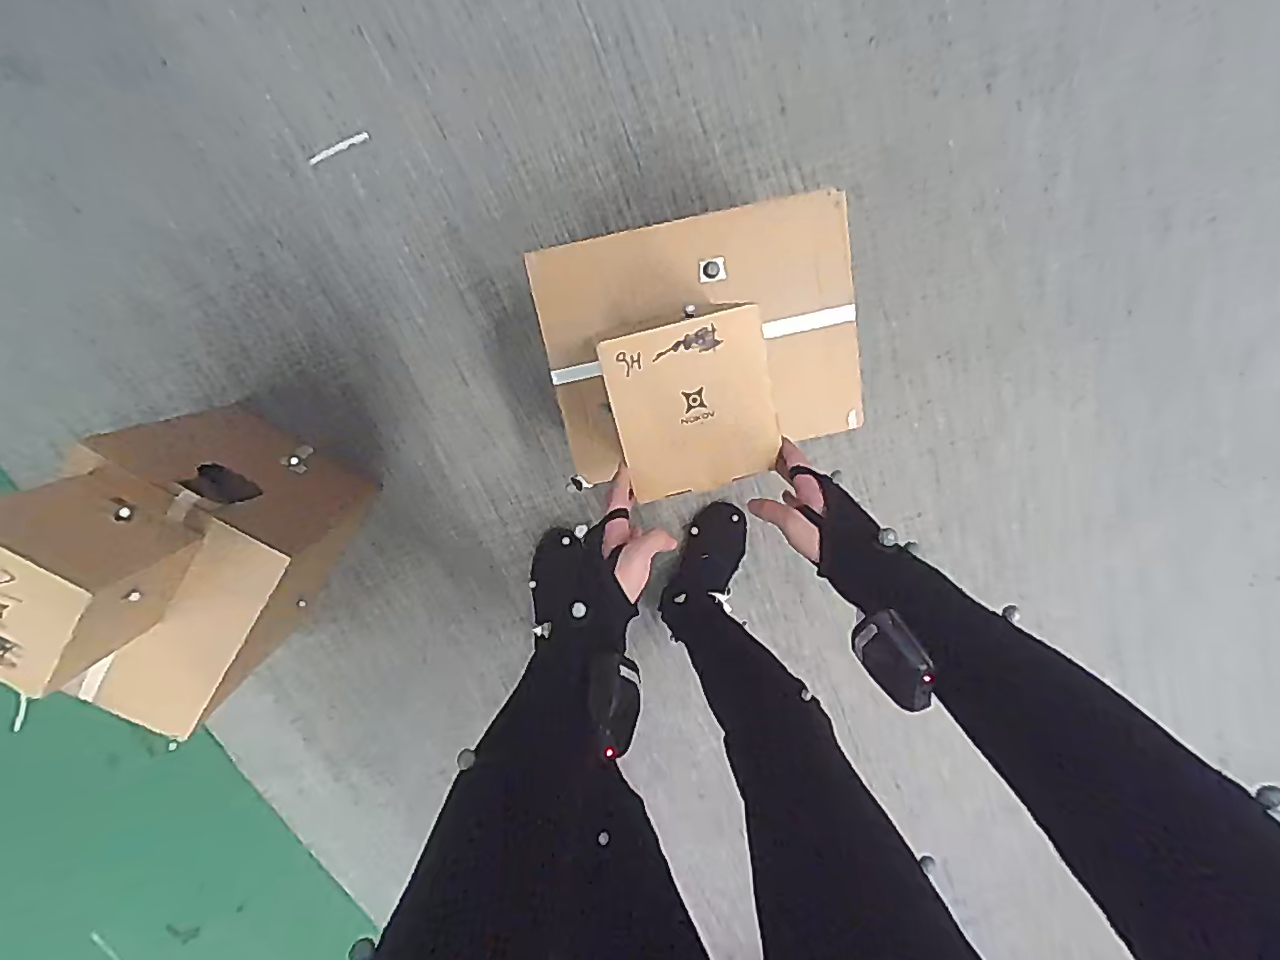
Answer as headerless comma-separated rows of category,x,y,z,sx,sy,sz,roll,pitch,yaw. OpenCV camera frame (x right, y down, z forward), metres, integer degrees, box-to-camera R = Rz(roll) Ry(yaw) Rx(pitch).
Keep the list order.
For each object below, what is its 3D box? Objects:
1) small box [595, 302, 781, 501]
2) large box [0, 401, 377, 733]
small box,0.048,-0.099,0.621,0.168,0.176,0.179,-14,110,-3
large box,-0.740,0.129,0.940,0.320,0.320,0.408,34,104,-11
